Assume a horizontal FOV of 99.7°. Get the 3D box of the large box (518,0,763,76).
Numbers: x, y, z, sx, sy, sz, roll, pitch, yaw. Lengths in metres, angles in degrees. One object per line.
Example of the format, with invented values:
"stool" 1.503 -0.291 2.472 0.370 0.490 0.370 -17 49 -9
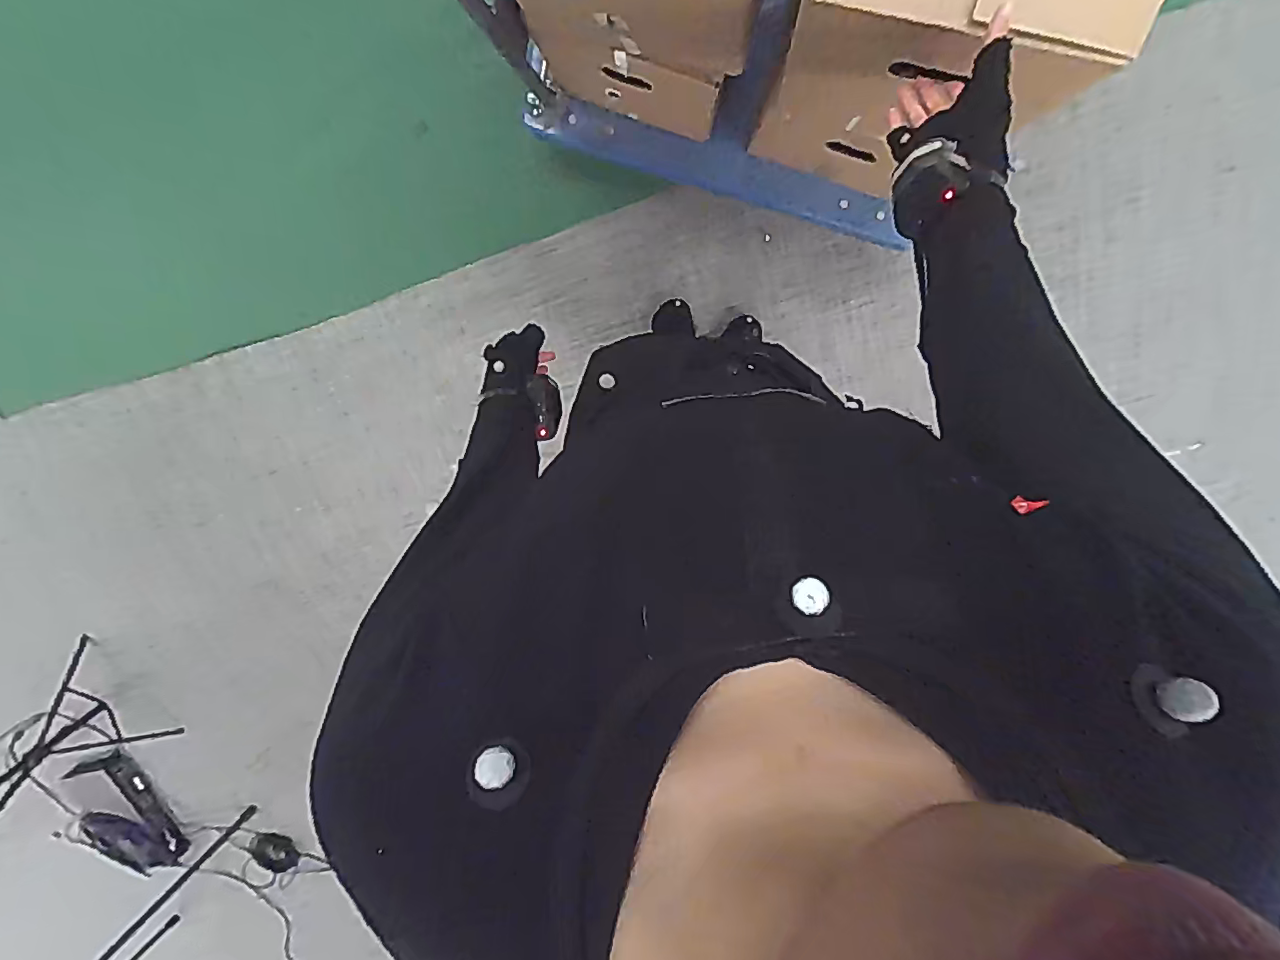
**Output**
"large box" 0.021 -0.747 0.577 0.320 0.320 0.408 16 107 3
